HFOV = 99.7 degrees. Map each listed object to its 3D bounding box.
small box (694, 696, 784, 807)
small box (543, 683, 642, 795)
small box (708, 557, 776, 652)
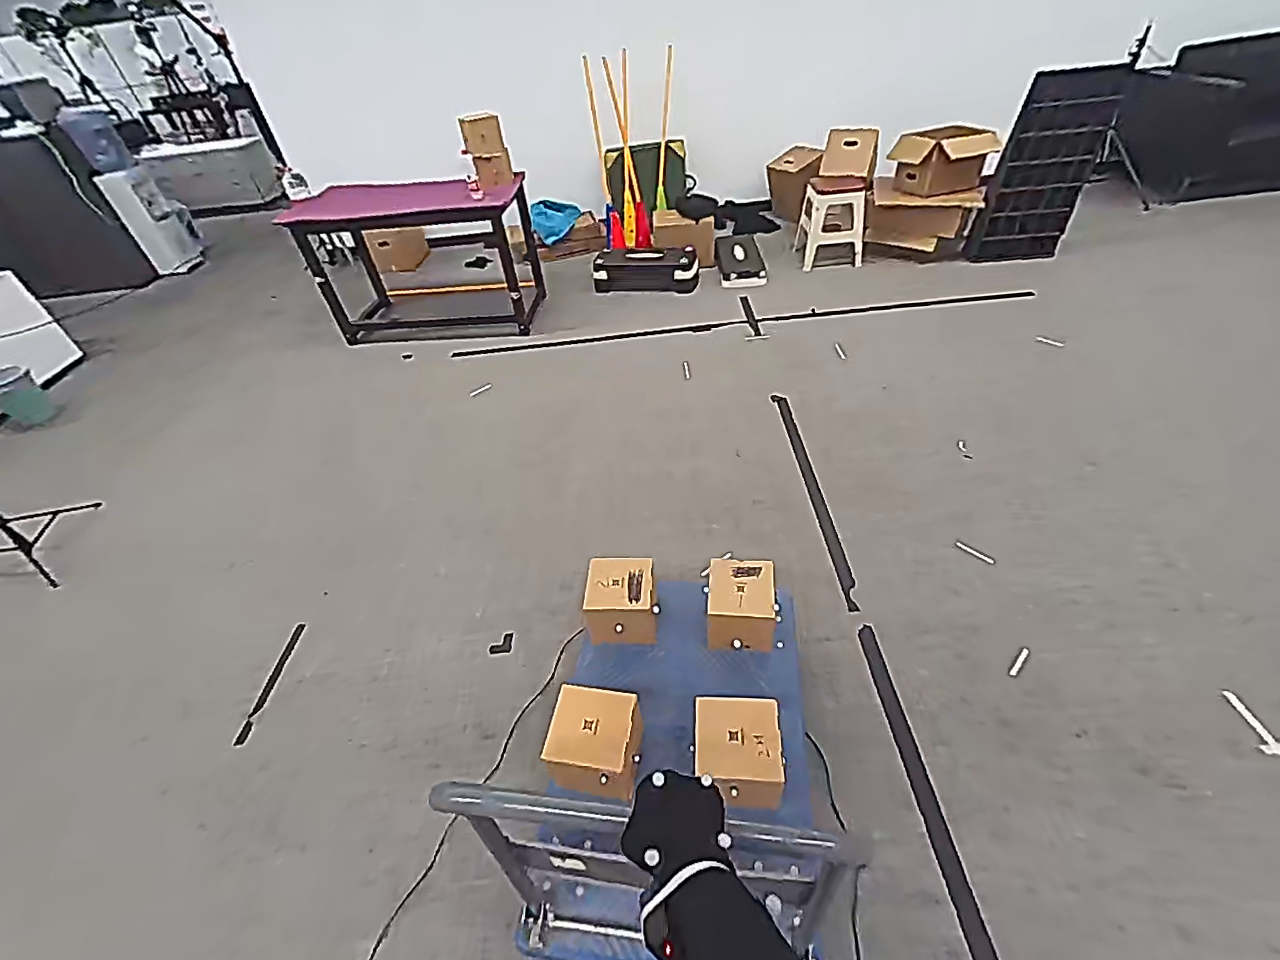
[{"bbox_3d":[0.209,0.584,1.162,0.179,0.176,0.168,0,43,8],"label":"small box"},{"bbox_3d":[-0.097,0.581,1.209,0.179,0.176,0.168,4,43,10],"label":"small box"},{"bbox_3d":[0.268,0.329,1.430,0.168,0.176,0.179,2,44,10],"label":"small box"}]
